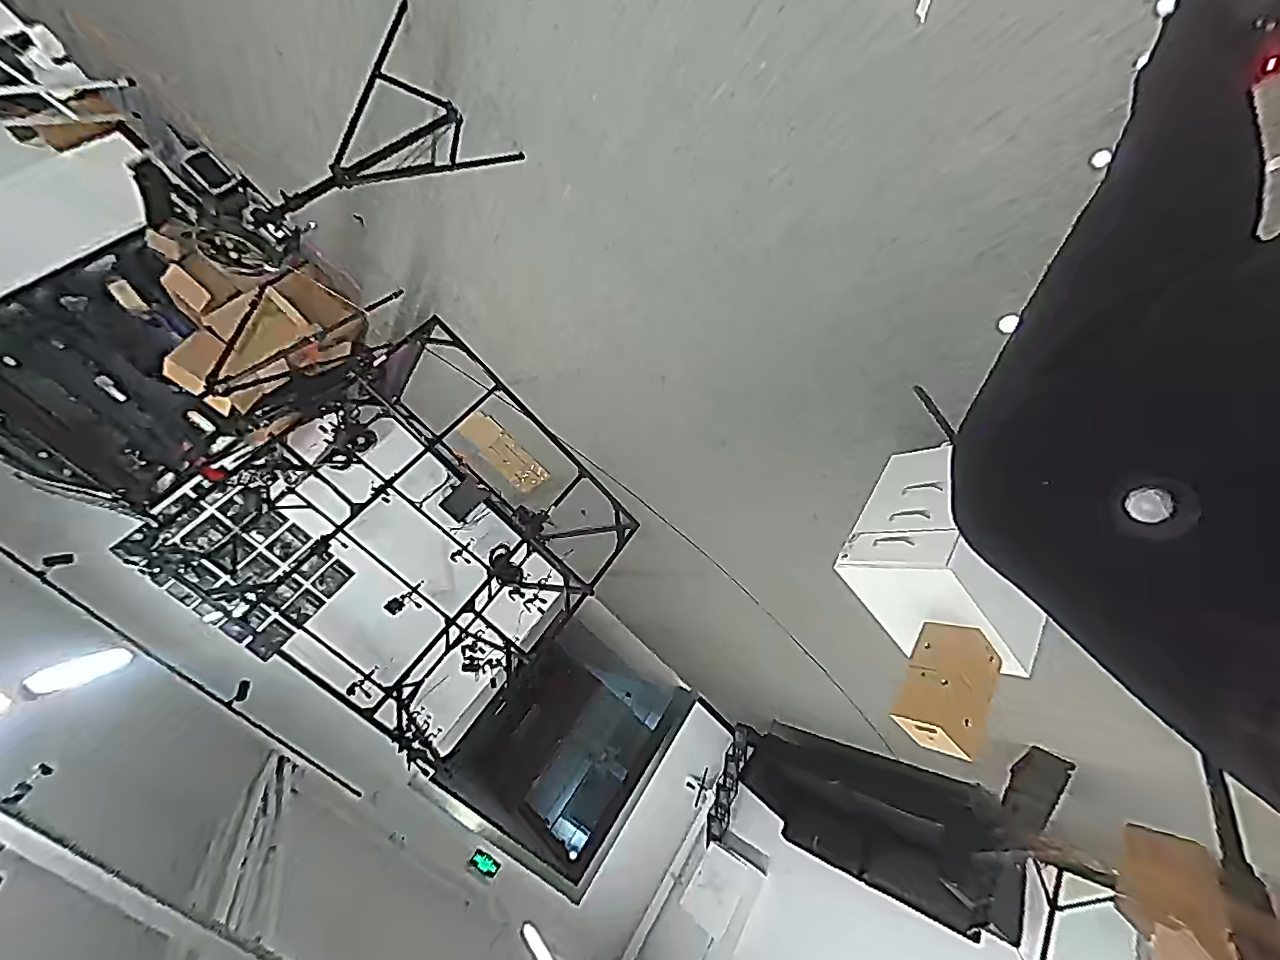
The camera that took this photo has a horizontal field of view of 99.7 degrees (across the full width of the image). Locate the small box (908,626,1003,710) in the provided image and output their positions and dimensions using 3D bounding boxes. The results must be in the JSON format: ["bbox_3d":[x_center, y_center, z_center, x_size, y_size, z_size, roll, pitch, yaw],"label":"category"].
[{"bbox_3d":[0.967,0.568,1.656,0.168,0.176,0.179,48,153,-18],"label":"small box"}]

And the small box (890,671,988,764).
[{"bbox_3d":[0.879,0.688,1.586,0.179,0.176,0.168,44,155,-15],"label":"small box"}]
